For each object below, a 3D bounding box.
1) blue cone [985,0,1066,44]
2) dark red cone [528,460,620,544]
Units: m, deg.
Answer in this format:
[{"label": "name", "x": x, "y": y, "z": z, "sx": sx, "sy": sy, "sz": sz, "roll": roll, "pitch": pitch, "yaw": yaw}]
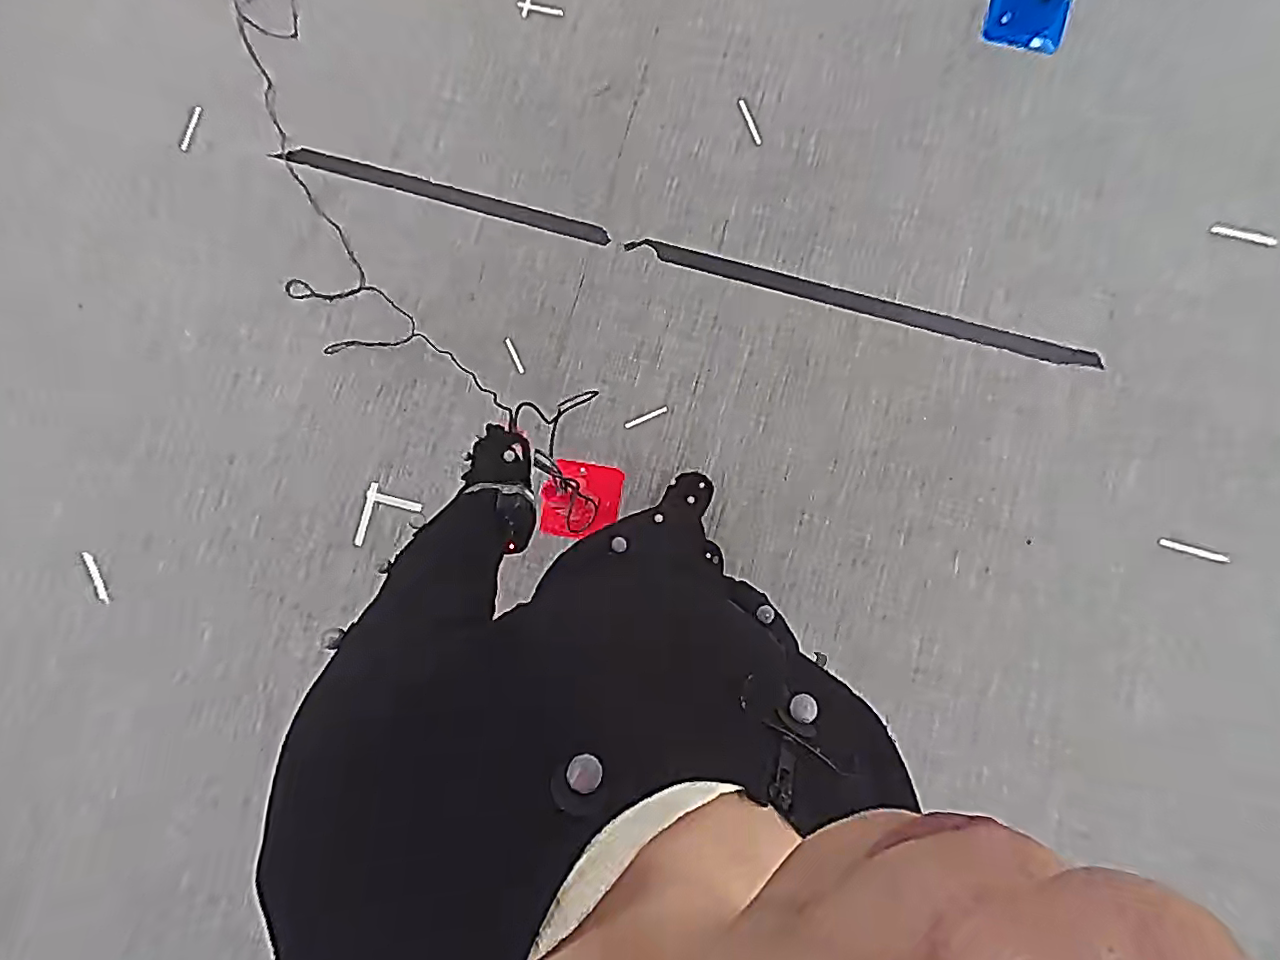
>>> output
[{"label": "blue cone", "x": 1.009, "y": -1.267, "z": 1.268, "sx": 0.193, "sy": 0.380, "sz": 0.192, "roll": 17, "pitch": 85, "yaw": 6}, {"label": "dark red cone", "x": -0.172, "y": 0.036, "z": 1.203, "sx": 0.202, "sy": 0.394, "sz": 0.201, "roll": 9, "pitch": 84, "yaw": 5}]
